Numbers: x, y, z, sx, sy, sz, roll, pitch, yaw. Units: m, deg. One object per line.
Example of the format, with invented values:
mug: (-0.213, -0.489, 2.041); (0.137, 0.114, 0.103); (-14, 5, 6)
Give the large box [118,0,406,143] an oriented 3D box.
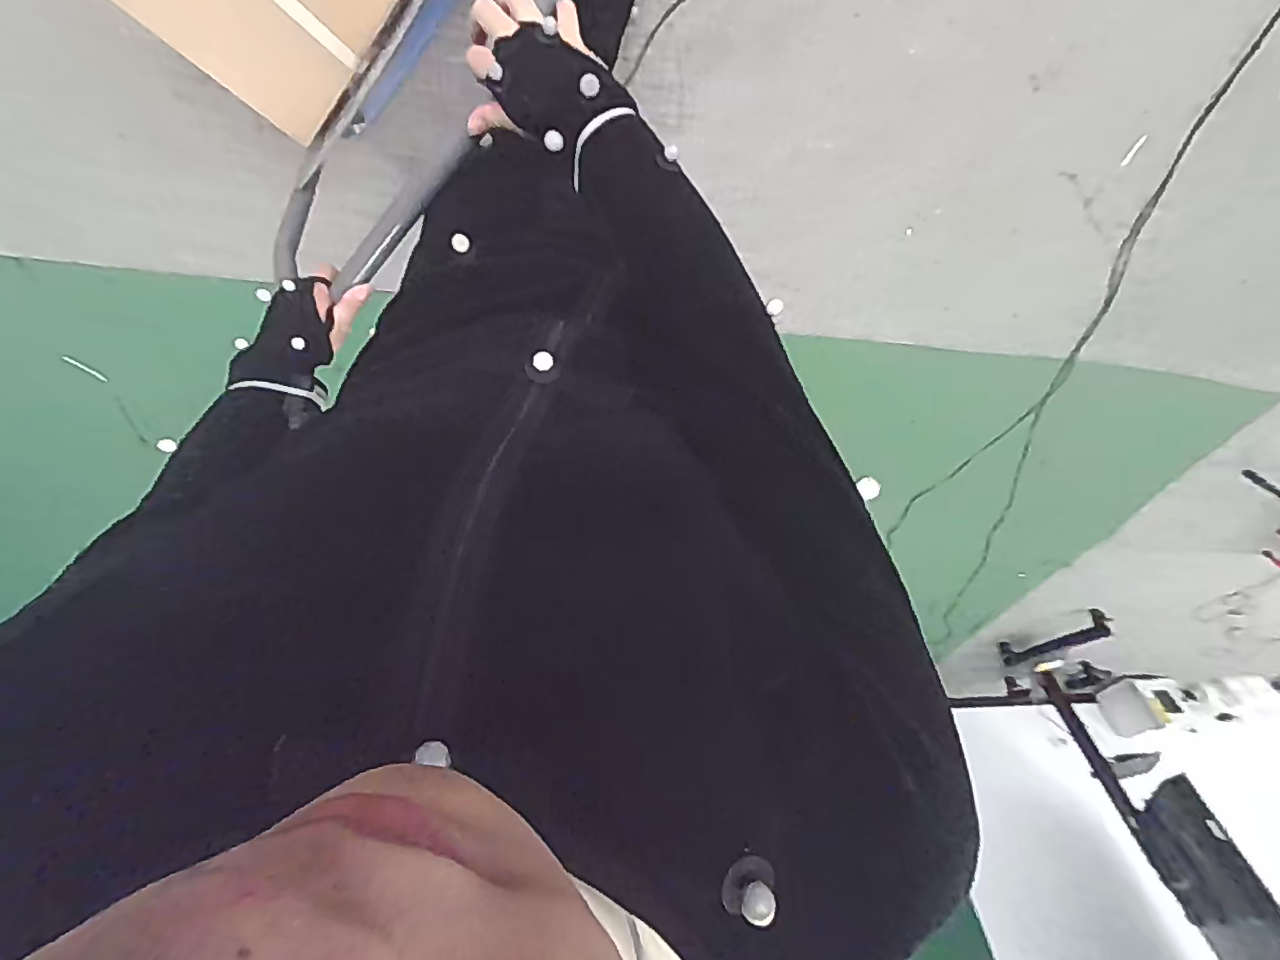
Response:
large box: (-0.540, -0.780, 0.731); (0.320, 0.320, 0.408); (-34, 136, 26)
